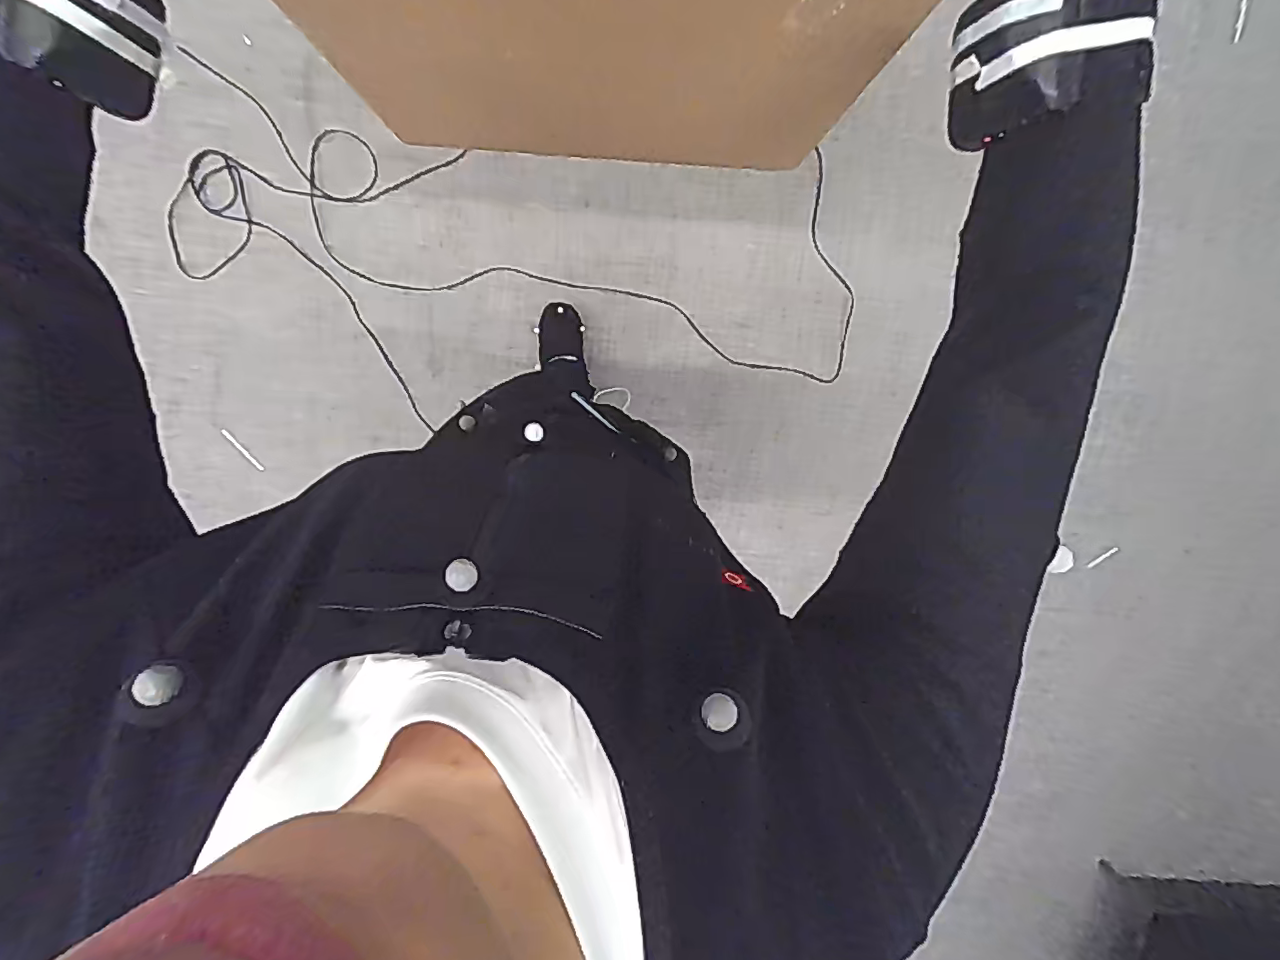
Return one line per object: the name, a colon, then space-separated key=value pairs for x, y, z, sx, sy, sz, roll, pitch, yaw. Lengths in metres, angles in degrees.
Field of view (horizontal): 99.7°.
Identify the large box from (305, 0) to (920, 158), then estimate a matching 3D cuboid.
large box: x=-0.023 y=-0.461 z=0.383 sx=0.408 sy=0.320 sz=0.320 roll=2 pitch=101 yaw=-4
